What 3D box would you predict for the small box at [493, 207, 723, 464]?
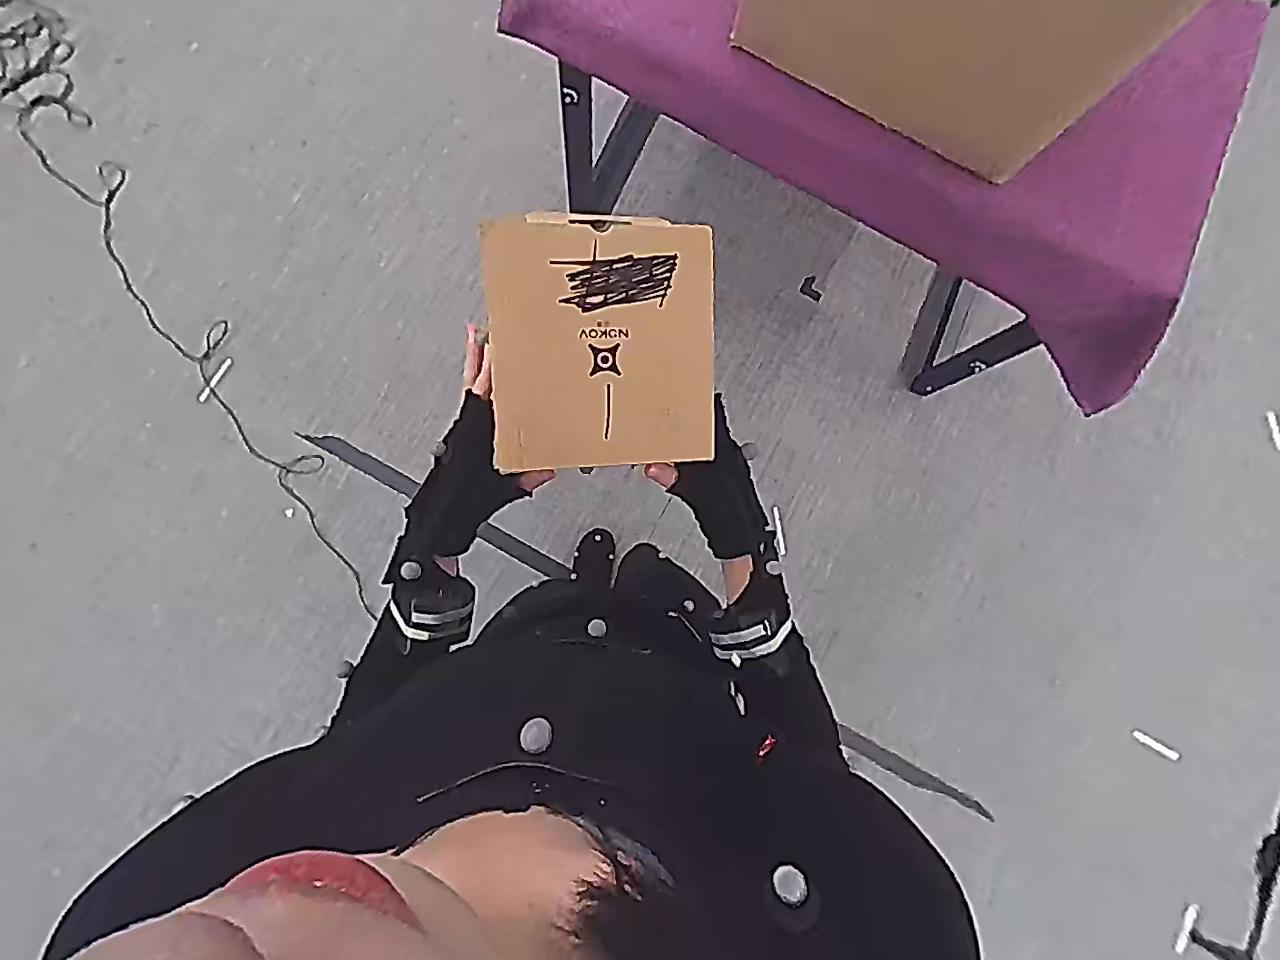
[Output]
[{"bbox_3d":[-0.036,-0.108,0.464,0.168,0.176,0.179,-4,97,-11],"label":"small box"}]
